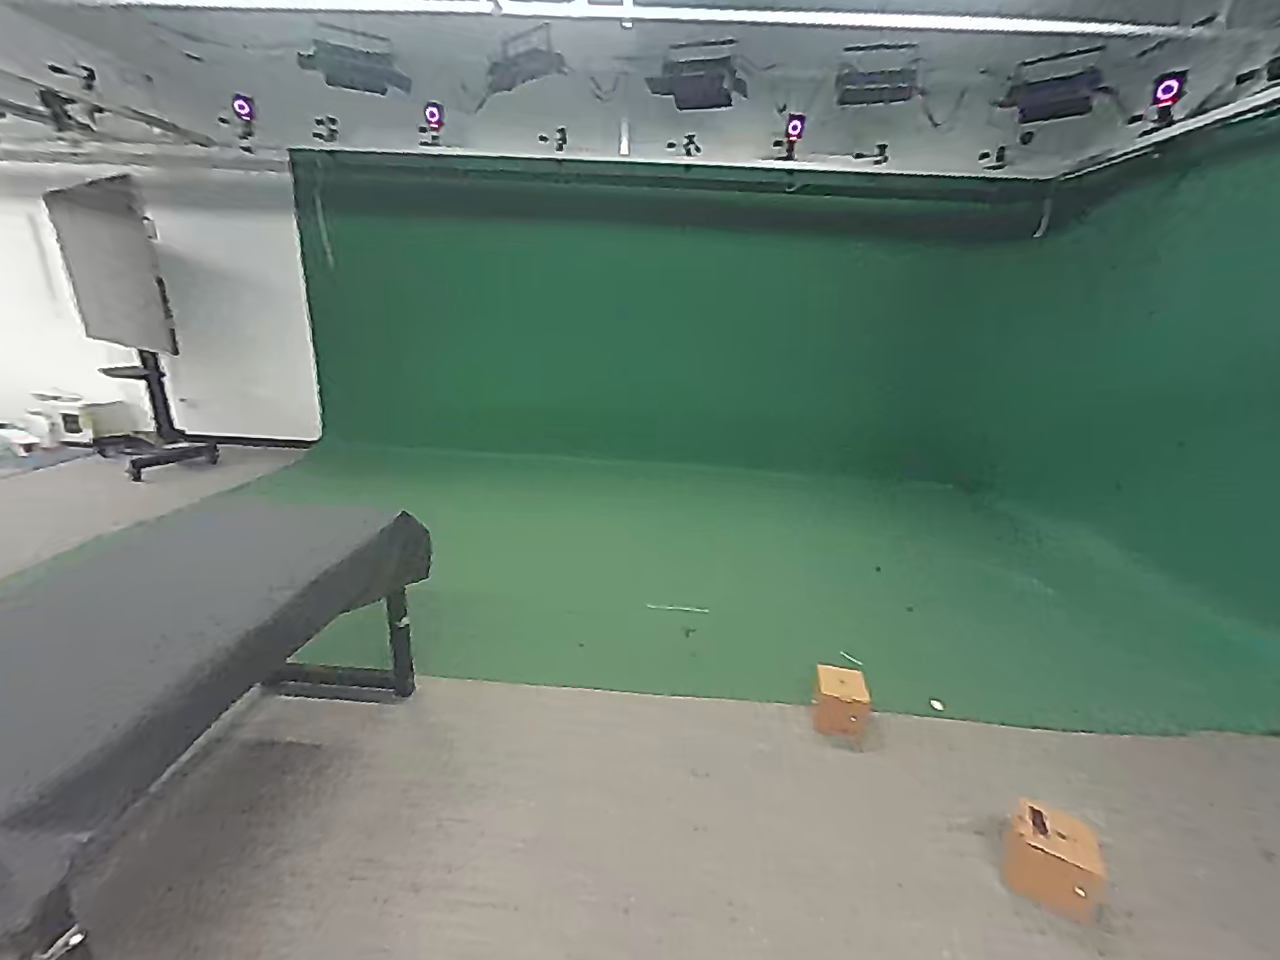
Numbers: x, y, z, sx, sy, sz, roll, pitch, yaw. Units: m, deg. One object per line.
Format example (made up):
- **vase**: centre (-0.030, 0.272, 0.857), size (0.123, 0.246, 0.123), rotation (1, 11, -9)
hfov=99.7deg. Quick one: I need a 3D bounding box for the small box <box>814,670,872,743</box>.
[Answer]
- **small box**: centre (0.745, 0.836, 1.997), size (0.168, 0.176, 0.179), rotation (7, 17, 10)
